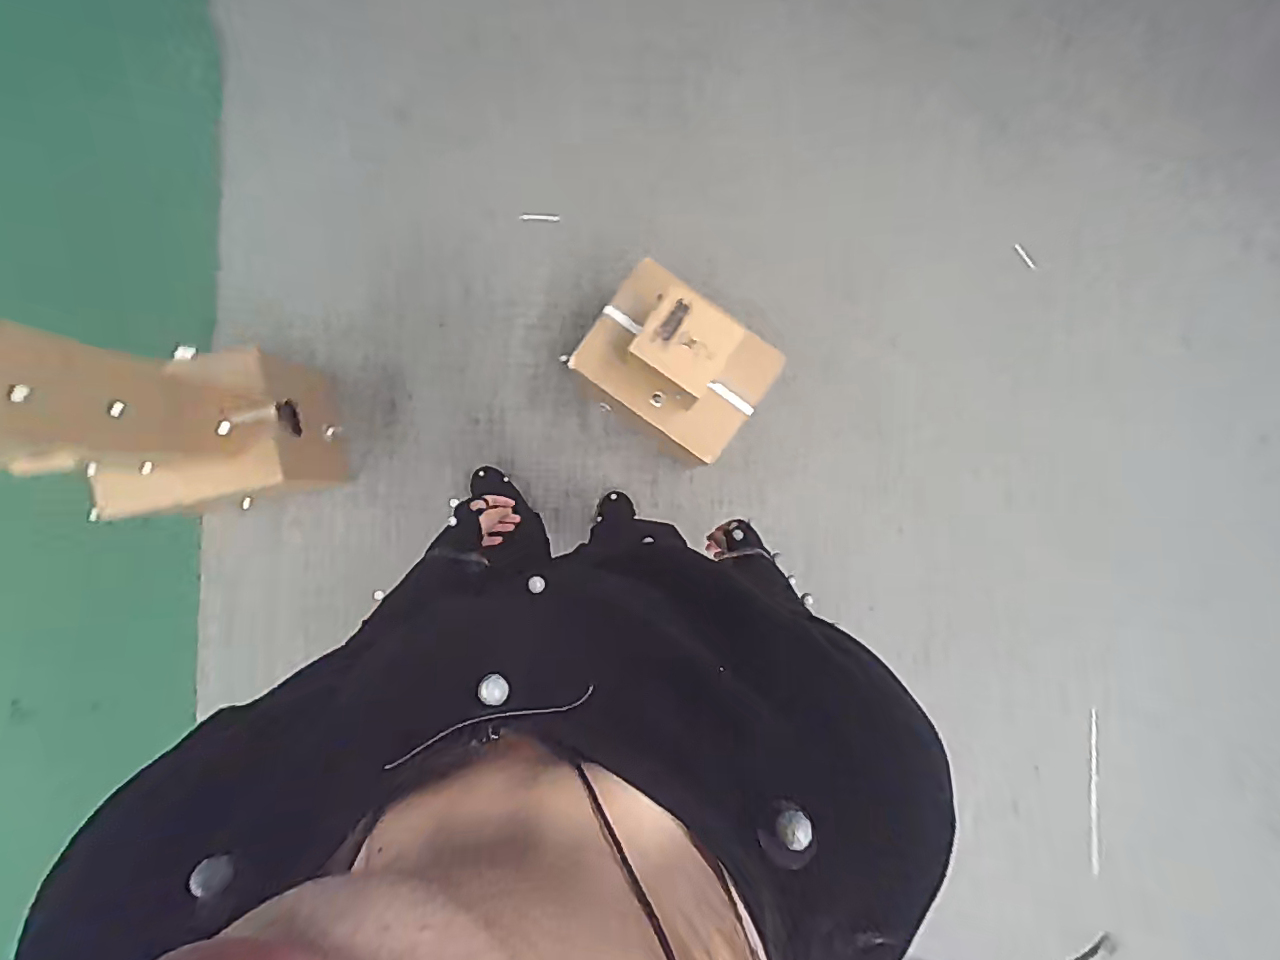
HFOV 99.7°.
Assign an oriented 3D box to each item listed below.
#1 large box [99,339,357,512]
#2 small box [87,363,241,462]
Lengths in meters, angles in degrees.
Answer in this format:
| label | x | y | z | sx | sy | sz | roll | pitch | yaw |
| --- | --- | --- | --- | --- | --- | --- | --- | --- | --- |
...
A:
| label | x | y | z | sx | sy | sz | roll | pitch | yaw |
| --- | --- | --- | --- | --- | --- | --- | --- | --- | --- |
| large box | -0.996 | -0.121 | 1.336 | 0.408 | 0.320 | 0.320 | -12 | 89 | -1 |
| small box | -0.961 | -0.130 | 1.092 | 0.179 | 0.176 | 0.168 | -8 | 91 | -2 |
